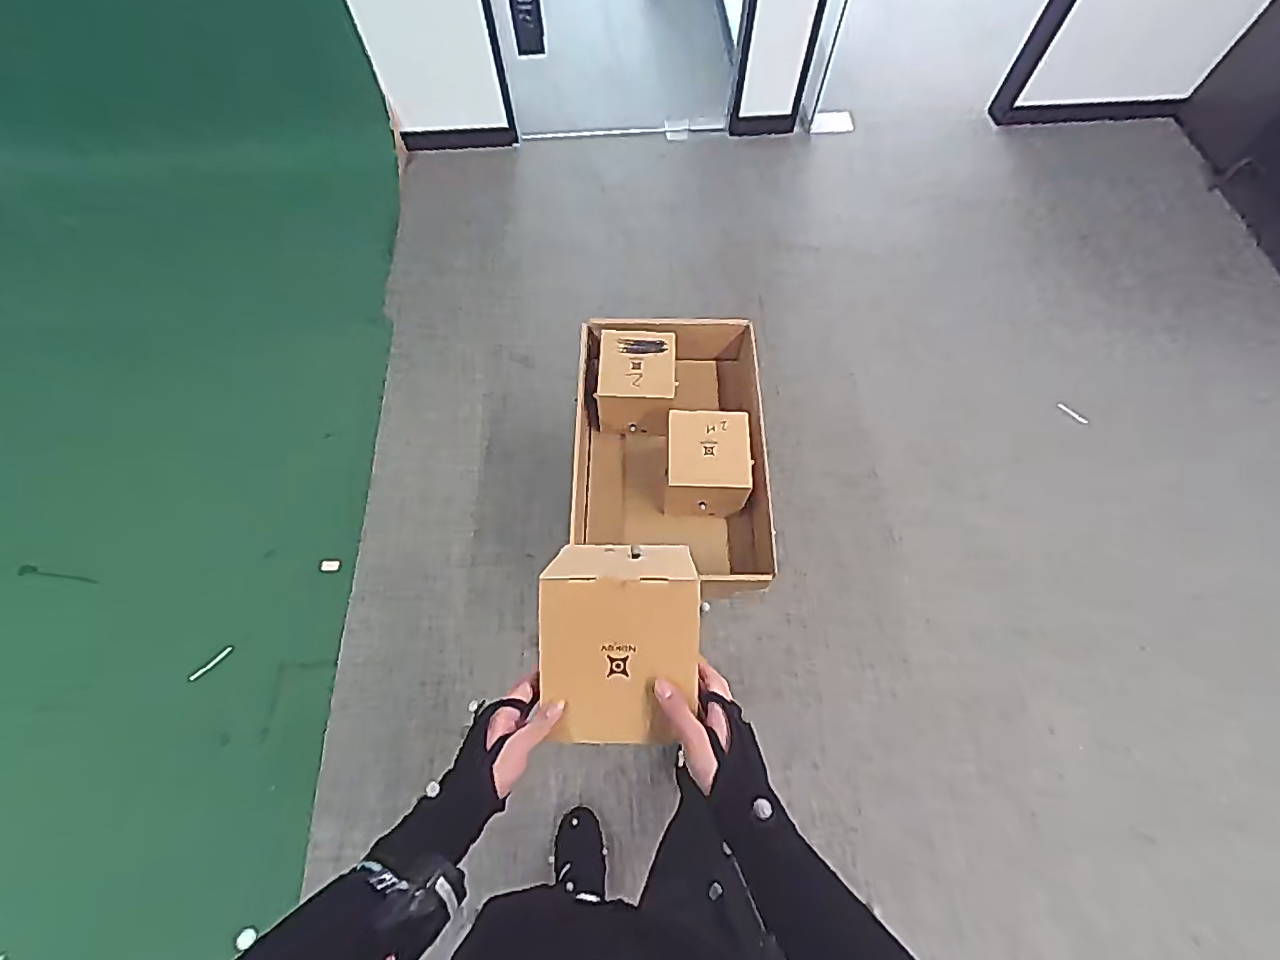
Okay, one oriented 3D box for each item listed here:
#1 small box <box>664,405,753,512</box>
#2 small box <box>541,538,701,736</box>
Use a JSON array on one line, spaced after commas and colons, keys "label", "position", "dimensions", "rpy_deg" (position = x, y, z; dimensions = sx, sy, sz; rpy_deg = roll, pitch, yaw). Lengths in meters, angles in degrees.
[{"label": "small box", "position": [0.140, -0.039, 1.144], "dimensions": [0.168, 0.176, 0.179], "rpy_deg": [3, 67, 0]}, {"label": "small box", "position": [-0.017, 0.170, 0.631], "dimensions": [0.168, 0.176, 0.179], "rpy_deg": [0, 93, 1]}]
